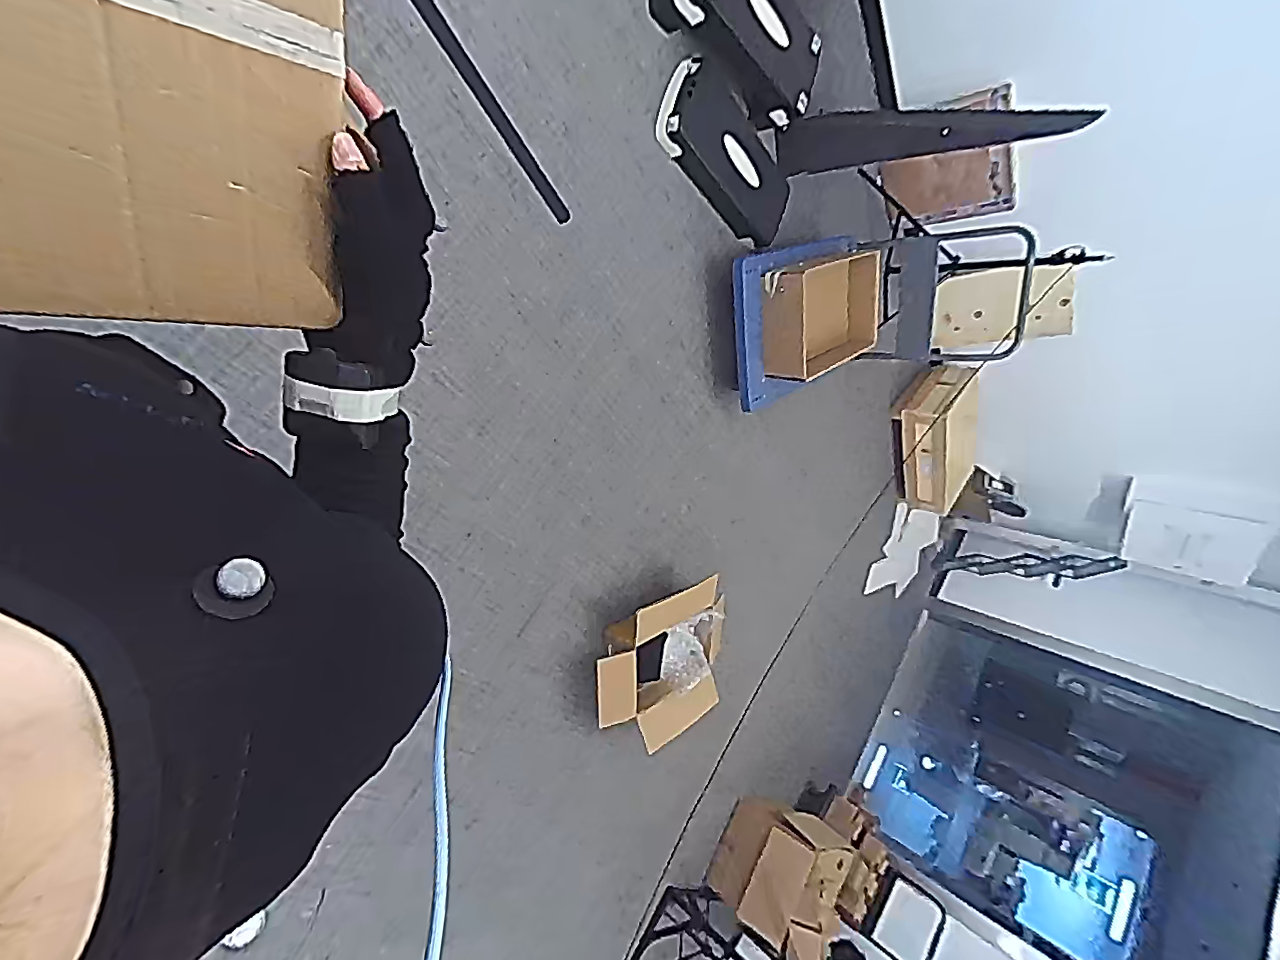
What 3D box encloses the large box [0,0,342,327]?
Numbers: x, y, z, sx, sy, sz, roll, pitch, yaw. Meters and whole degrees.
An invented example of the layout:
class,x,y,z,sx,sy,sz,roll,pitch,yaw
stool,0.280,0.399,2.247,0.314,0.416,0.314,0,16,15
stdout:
class,x,y,z,sx,sy,sz,roll,pitch,yaw
large box,-0.419,-0.283,0.278,0.408,0.320,0.320,-10,126,-41
